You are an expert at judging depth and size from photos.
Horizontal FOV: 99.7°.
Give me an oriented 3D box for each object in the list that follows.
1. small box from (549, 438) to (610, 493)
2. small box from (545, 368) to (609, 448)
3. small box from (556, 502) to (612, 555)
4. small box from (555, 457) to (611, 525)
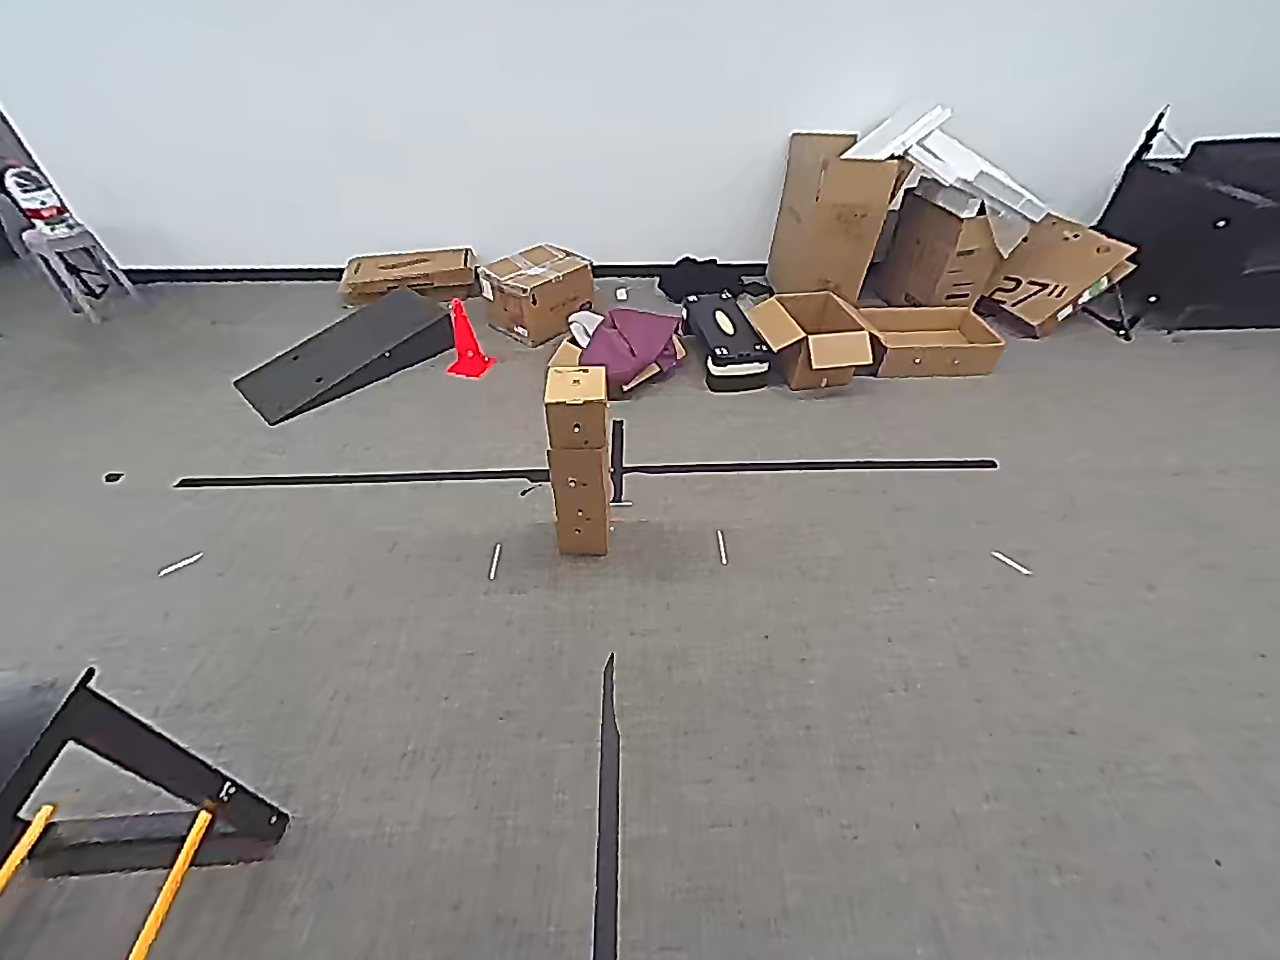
[{"bbox_3d":[-0.182,-0.080,1.678,0.168,0.176,0.179,1,45,1],"label":"small box"},{"bbox_3d":[-0.176,-0.205,1.571,0.168,0.176,0.179,-2,44,-2],"label":"small box"},{"bbox_3d":[-0.193,0.150,1.911,0.179,0.176,0.168,2,44,1],"label":"small box"},{"bbox_3d":[-0.185,0.028,1.801,0.168,0.176,0.179,1,44,1],"label":"small box"}]
